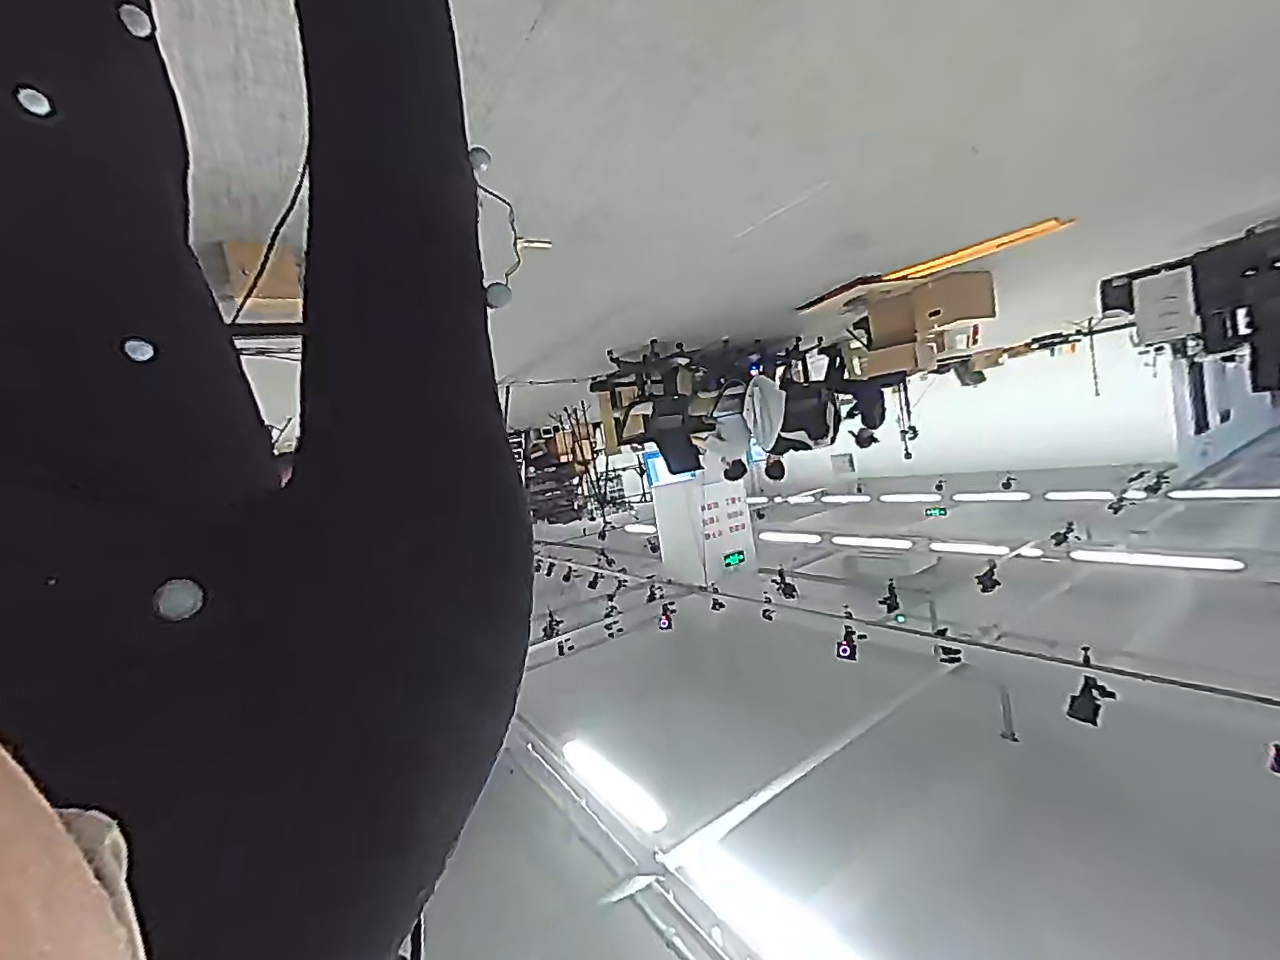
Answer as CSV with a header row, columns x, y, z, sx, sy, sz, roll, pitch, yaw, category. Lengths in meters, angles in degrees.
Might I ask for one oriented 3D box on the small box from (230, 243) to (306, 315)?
x,y,z,sx,sy,sz,roll,pitch,yaw,category
-1.172,-0.630,1.702,0.179,0.176,0.168,-12,-175,-33,small box
